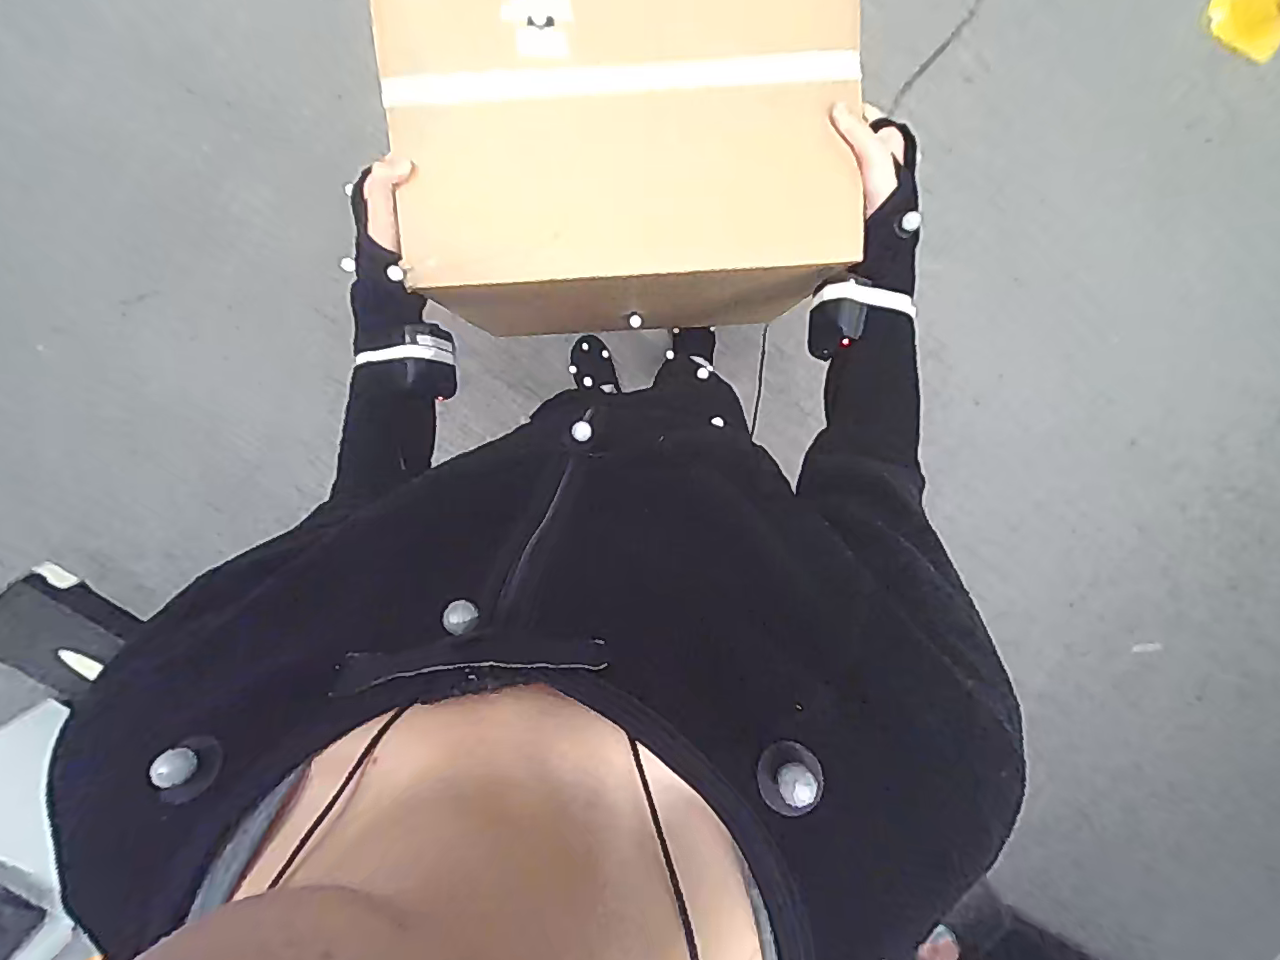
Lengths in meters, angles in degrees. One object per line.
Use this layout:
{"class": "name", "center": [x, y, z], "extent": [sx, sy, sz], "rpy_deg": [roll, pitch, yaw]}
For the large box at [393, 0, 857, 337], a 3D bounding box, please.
{"class": "large box", "center": [-0.008, -0.350, 0.620], "extent": [0.408, 0.320, 0.320], "rpy_deg": [-3, 96, 0]}
